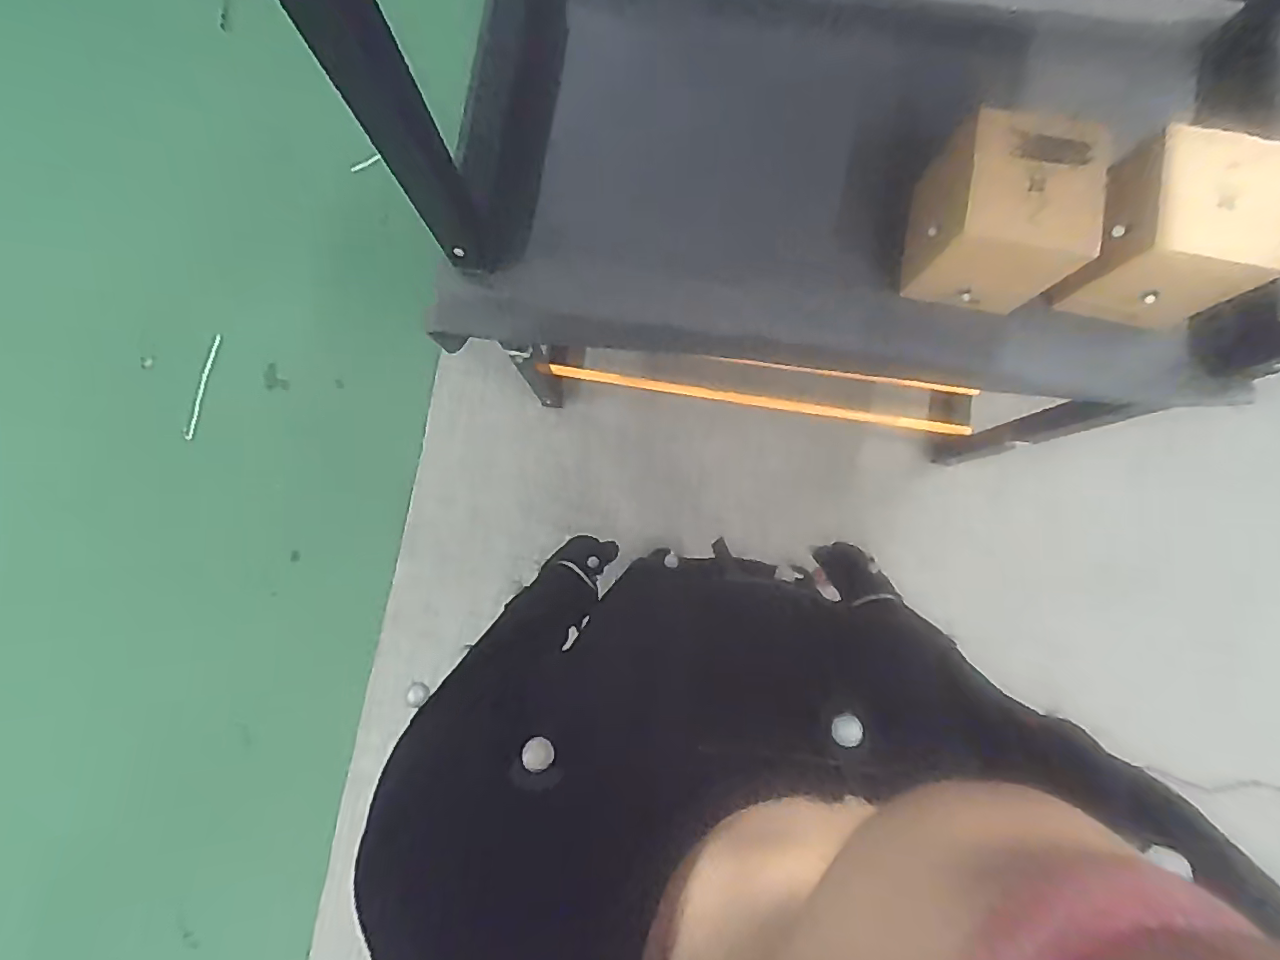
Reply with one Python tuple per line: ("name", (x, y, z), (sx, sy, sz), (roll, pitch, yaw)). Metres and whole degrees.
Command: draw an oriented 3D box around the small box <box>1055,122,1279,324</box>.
("small box", (0.712, -0.335, 0.737), (0.168, 0.176, 0.179), (12, 82, 2))
